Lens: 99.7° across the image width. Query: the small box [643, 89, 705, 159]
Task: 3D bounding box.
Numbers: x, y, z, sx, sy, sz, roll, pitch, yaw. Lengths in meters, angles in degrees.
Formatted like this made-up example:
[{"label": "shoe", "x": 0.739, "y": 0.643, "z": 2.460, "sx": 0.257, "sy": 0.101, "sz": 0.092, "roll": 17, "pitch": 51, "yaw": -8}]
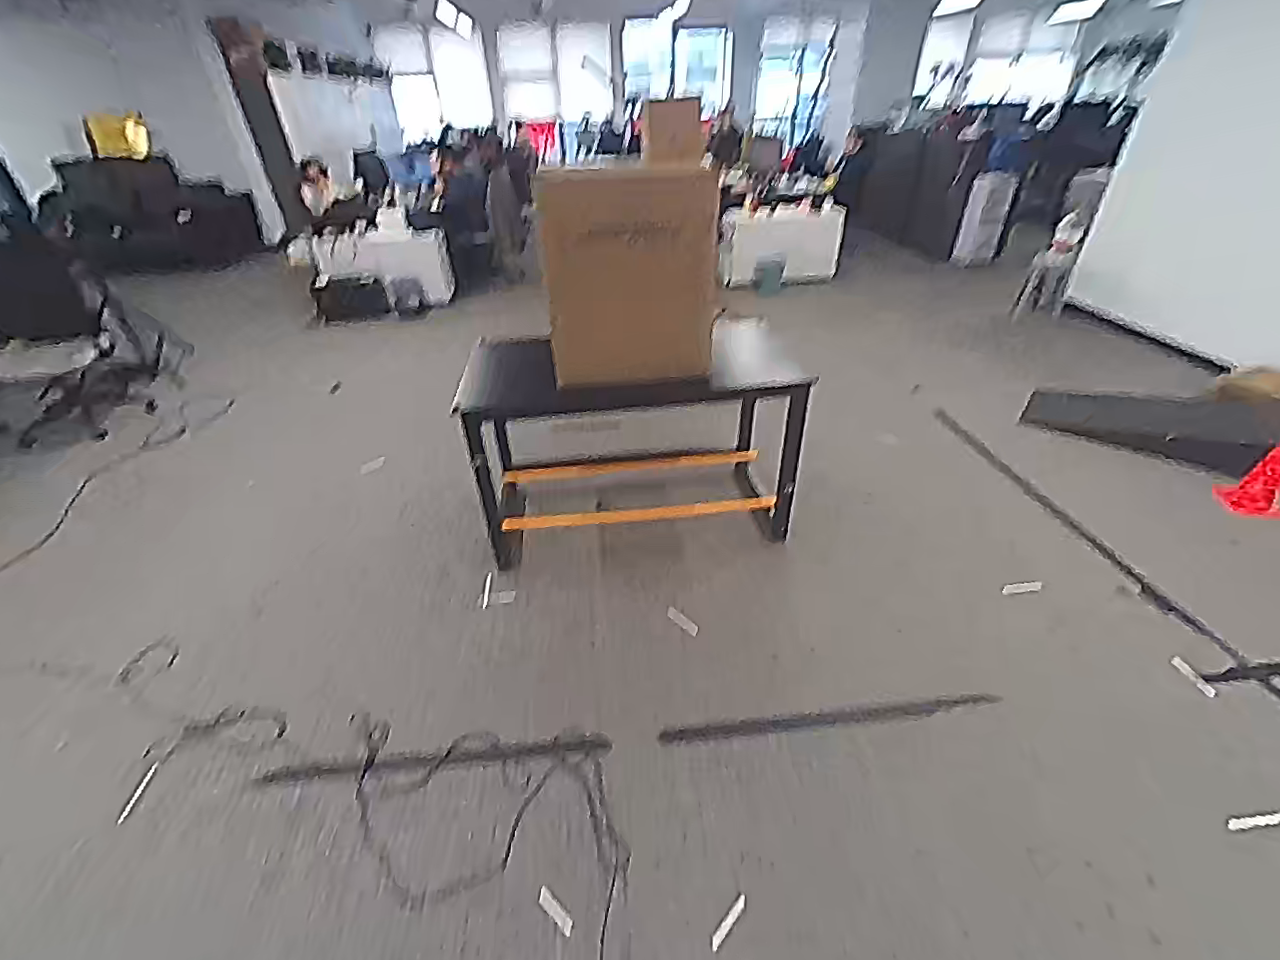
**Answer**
[{"label": "small box", "x": 0.102, "y": -1.091, "z": 1.663, "sx": 0.168, "sy": 0.176, "sz": 0.179, "roll": -7, "pitch": 34, "yaw": -4}]
